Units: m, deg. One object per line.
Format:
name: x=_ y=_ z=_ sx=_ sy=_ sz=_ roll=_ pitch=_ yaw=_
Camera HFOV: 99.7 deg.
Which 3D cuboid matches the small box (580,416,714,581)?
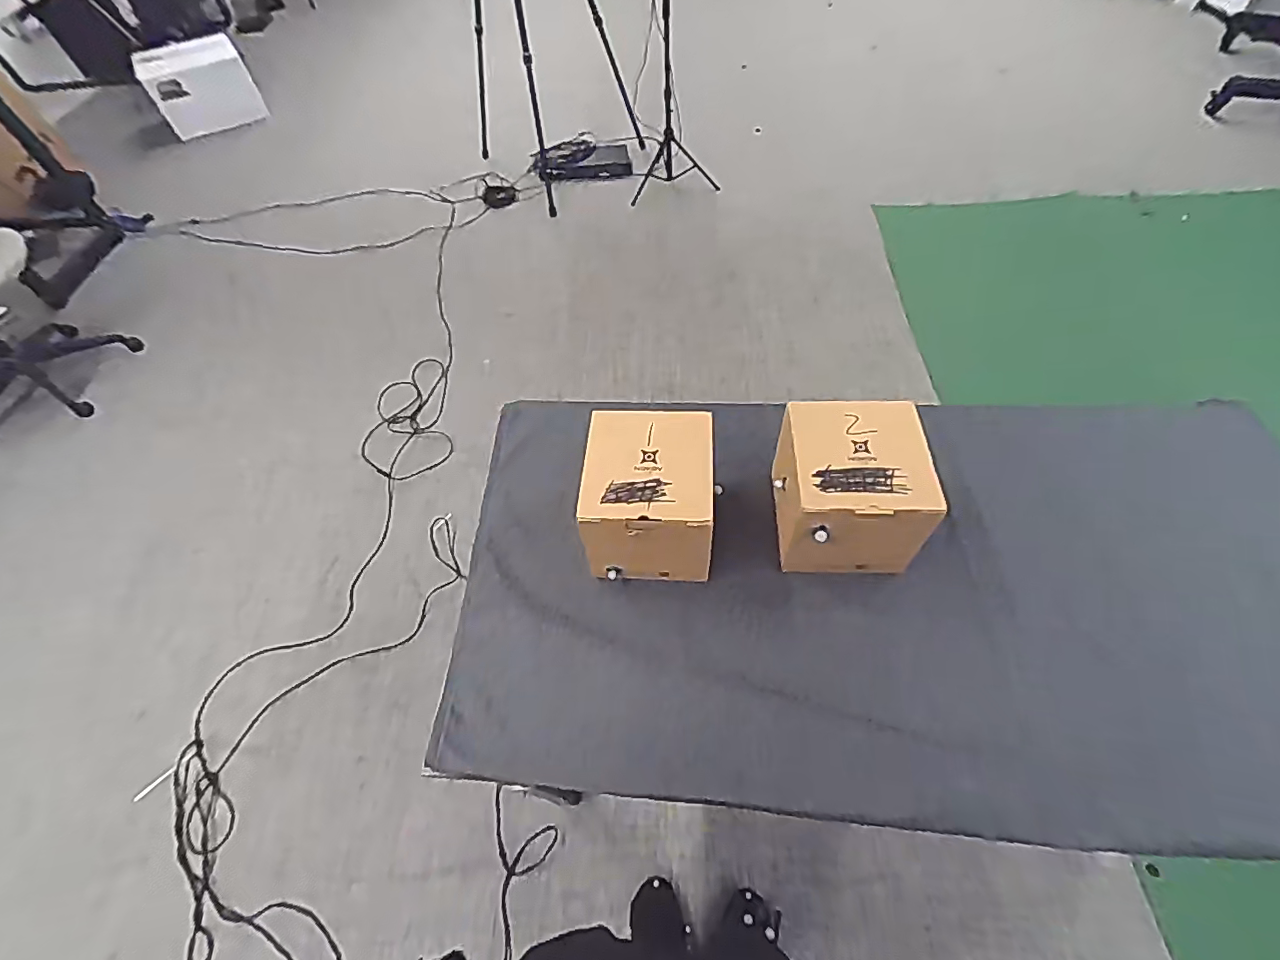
small box: x=0.019 y=0.030 z=0.758 sx=0.168 sy=0.176 sz=0.179 roll=2 pitch=55 yaw=5
